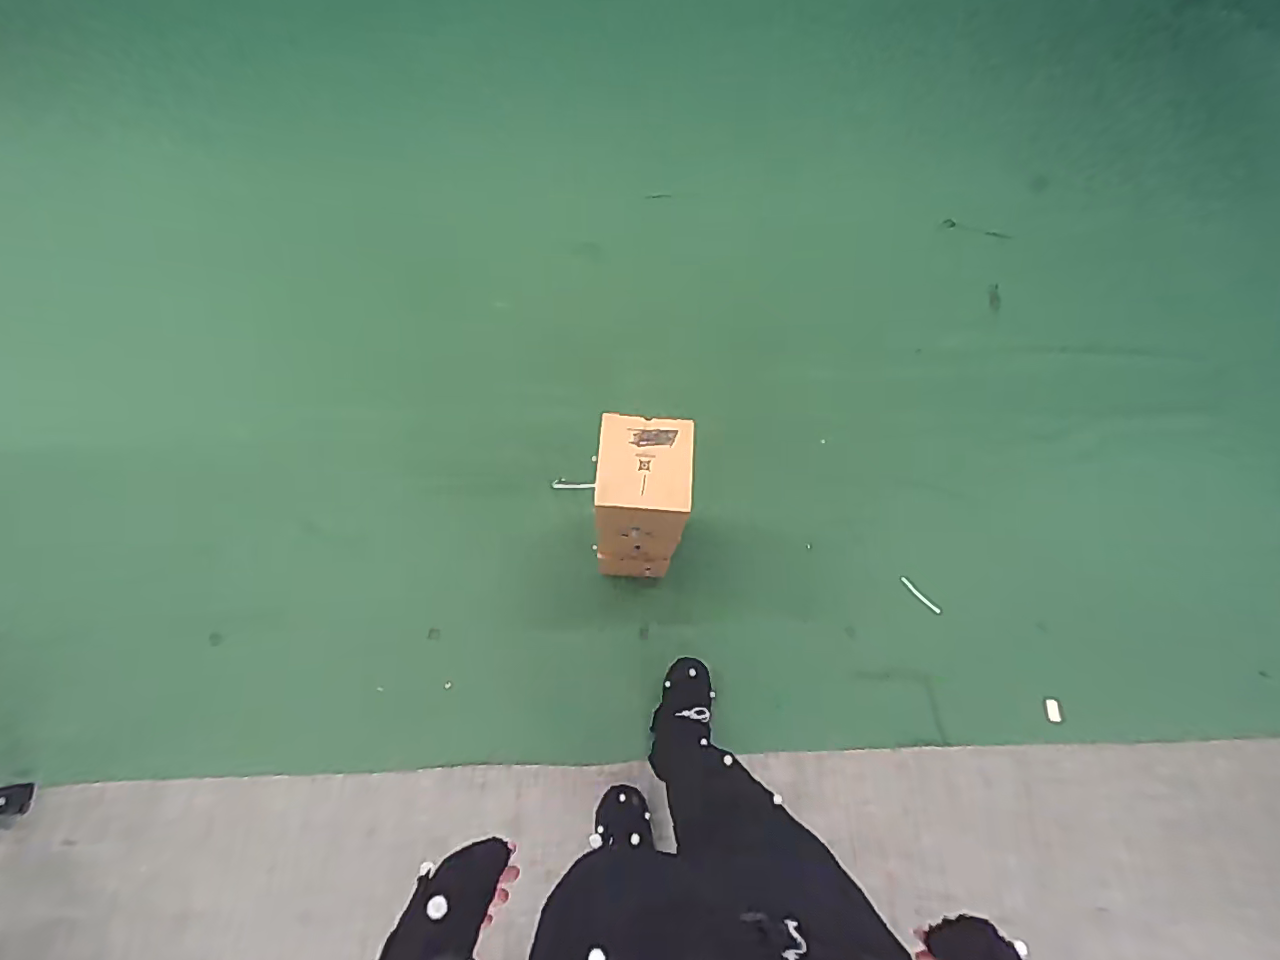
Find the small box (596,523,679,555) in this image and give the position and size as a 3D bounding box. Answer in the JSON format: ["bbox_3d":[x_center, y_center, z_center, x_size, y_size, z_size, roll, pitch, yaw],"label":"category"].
[{"bbox_3d":[-0.002,0.058,1.156,0.168,0.176,0.179,5,69,-2],"label":"small box"}]

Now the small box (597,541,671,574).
[{"bbox_3d":[-0.012,0.120,1.286,0.168,0.176,0.179,6,68,-3],"label":"small box"}]

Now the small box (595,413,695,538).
[{"bbox_3d":[0.005,-0.003,1.002,0.168,0.176,0.179,5,69,-1],"label":"small box"}]
